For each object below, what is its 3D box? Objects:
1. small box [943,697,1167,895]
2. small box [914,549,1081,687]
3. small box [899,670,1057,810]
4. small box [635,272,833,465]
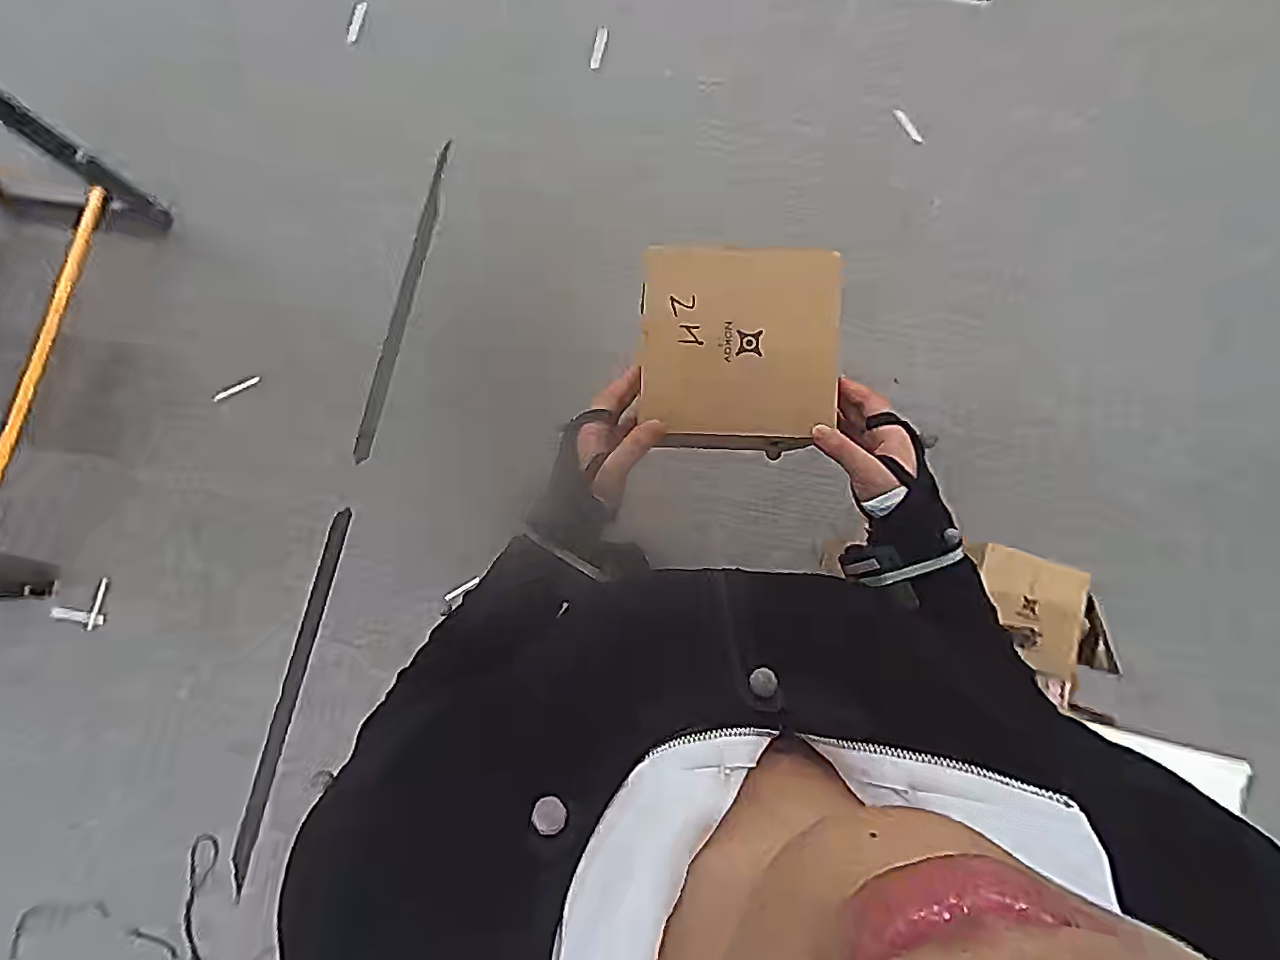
[{"bbox_3d":[0.563,0.422,0.755,0.179,0.176,0.168,12,84,5],"label":"small box"},{"bbox_3d":[0.608,0.232,0.944,0.168,0.176,0.179,19,81,5],"label":"small box"},{"bbox_3d":[0.561,0.442,0.916,0.168,0.176,0.179,10,84,4],"label":"small box"},{"bbox_3d":[0.086,-0.104,0.570,0.179,0.176,0.168,2,89,1],"label":"small box"}]
